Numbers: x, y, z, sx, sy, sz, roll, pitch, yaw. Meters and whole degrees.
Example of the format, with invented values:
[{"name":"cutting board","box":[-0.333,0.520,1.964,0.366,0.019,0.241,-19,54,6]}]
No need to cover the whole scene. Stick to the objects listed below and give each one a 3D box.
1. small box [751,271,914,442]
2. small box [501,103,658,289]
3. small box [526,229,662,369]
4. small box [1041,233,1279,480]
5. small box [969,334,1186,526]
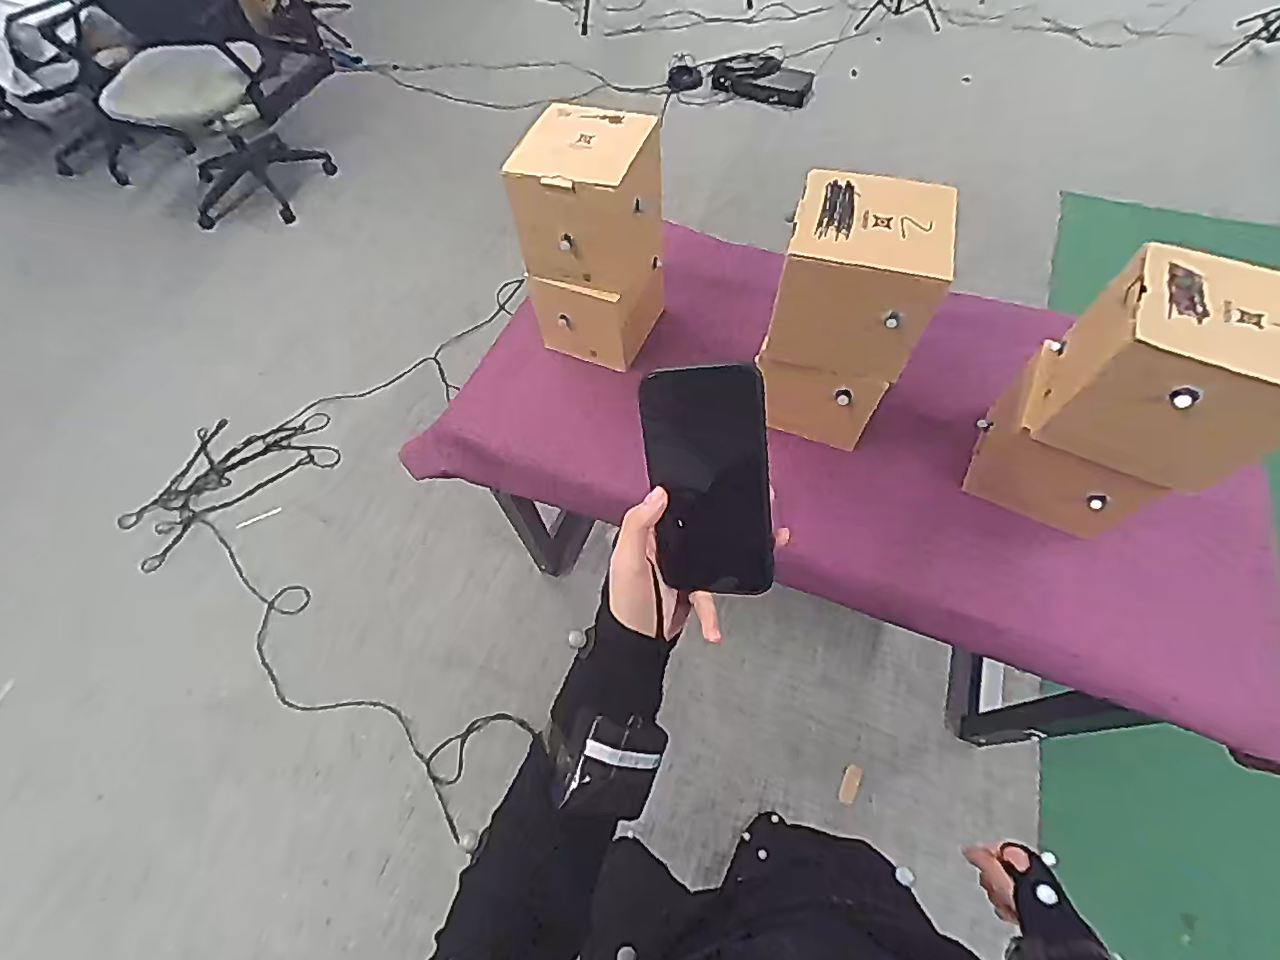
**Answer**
[{"name":"small box","box":[0.283,-0.180,0.823,0.179,0.176,0.168,19,63,15]},{"name":"small box","box":[-0.073,-0.409,0.792,0.168,0.176,0.179,15,63,12]},{"name":"small box","box":[-0.066,-0.321,0.930,0.168,0.176,0.179,20,63,15]},{"name":"small box","box":[0.580,-0.126,0.583,0.179,0.176,0.168,25,64,16]},{"name":"small box","box":[0.589,-0.059,0.732,0.179,0.176,0.168,25,64,18]}]
